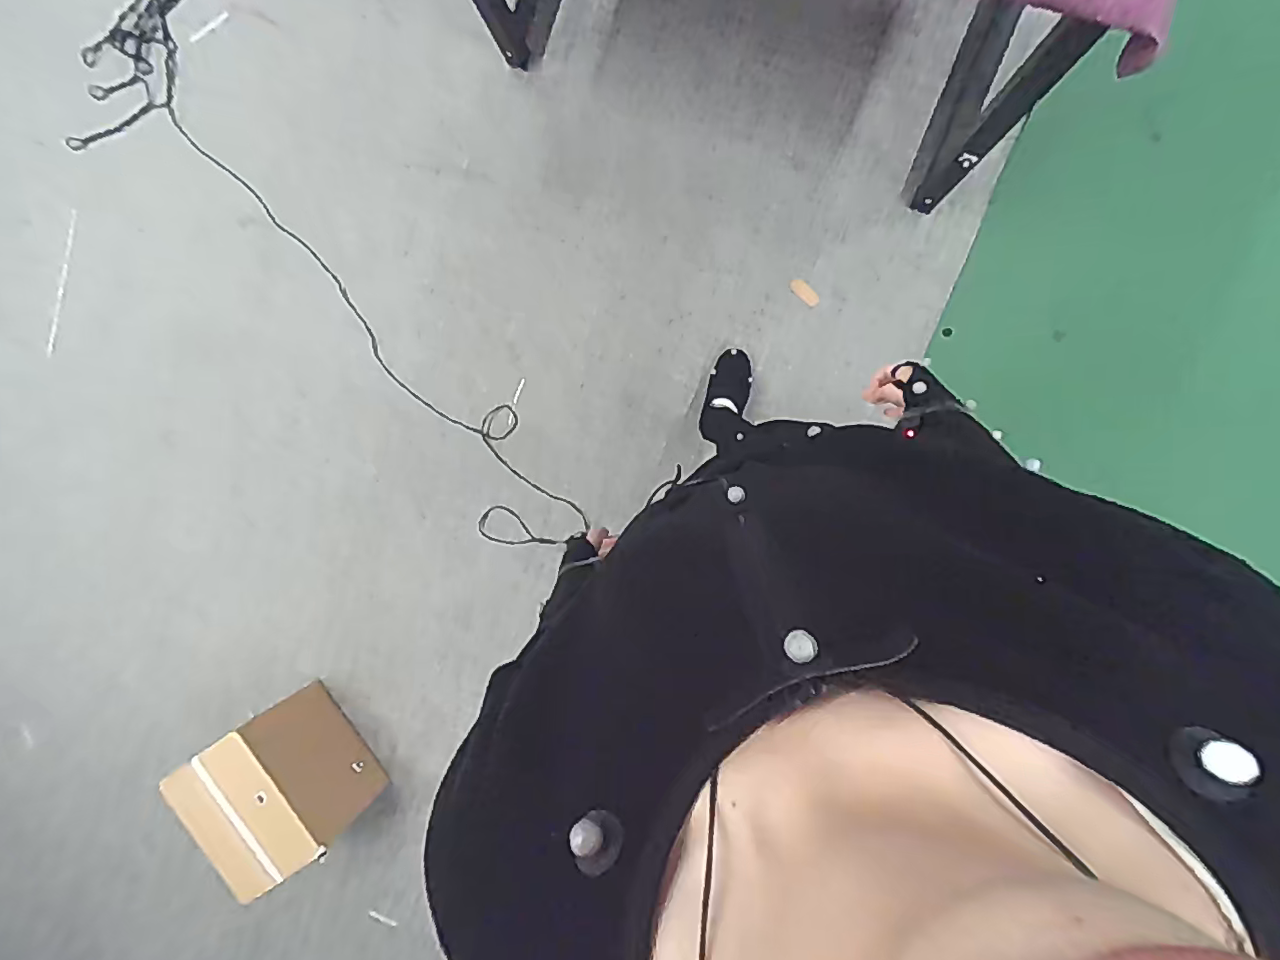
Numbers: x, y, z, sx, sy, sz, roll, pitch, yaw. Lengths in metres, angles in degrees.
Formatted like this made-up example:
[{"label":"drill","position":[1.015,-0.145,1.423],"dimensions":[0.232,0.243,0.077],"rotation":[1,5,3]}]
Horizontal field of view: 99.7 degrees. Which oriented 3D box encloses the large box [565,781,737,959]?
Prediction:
[{"label":"large box","position":[0.035,1.078,1.462],"dimensions":[0.408,0.320,0.320],"rotation":[7,97,6]}]
